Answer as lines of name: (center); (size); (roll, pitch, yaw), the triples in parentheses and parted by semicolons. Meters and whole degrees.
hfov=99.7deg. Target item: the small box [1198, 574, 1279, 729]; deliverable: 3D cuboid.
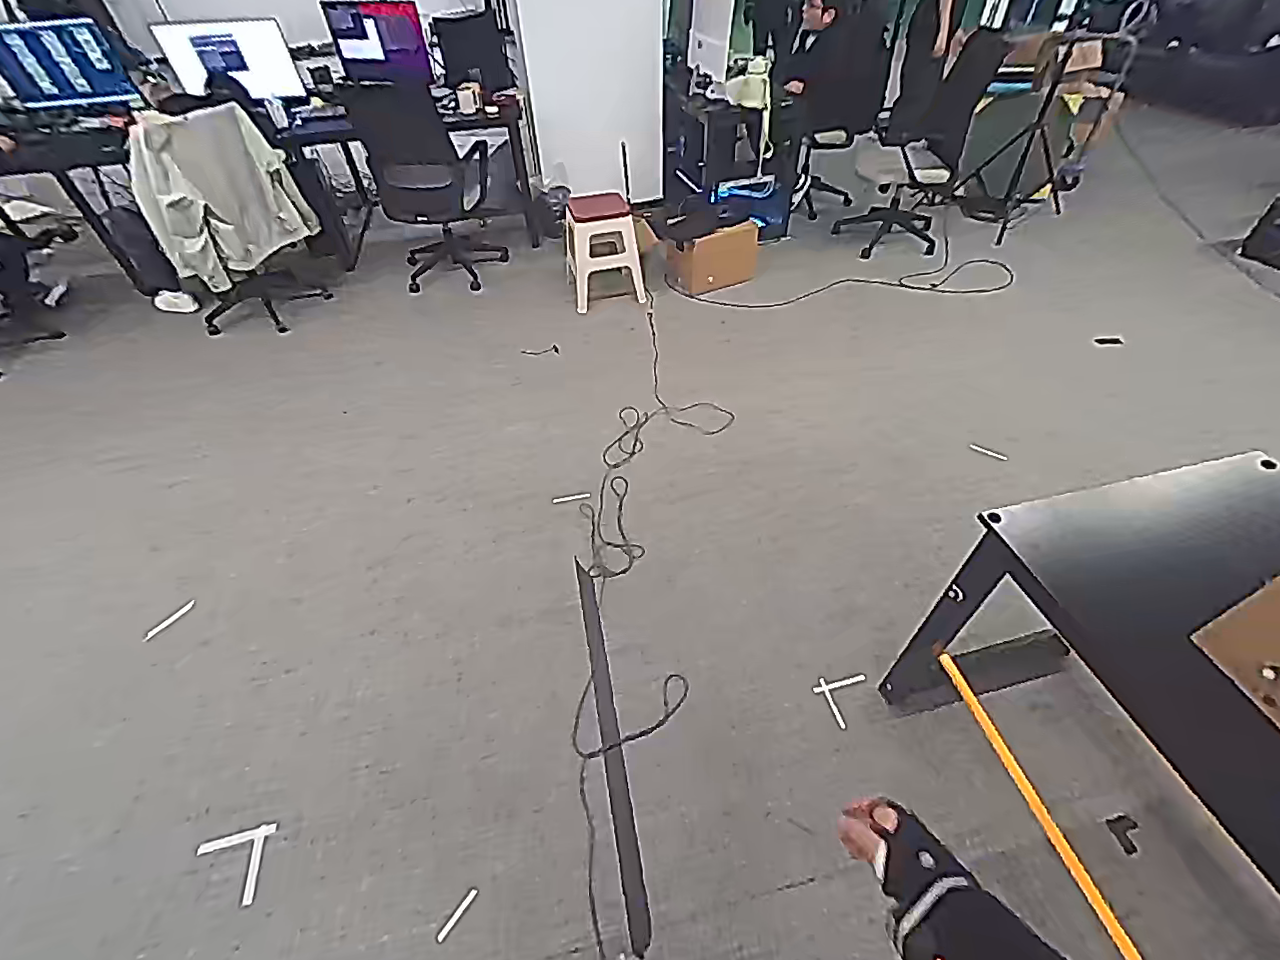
small box: (0.901, 0.212, 0.690); (0.179, 0.176, 0.168); (-10, 46, -6)
